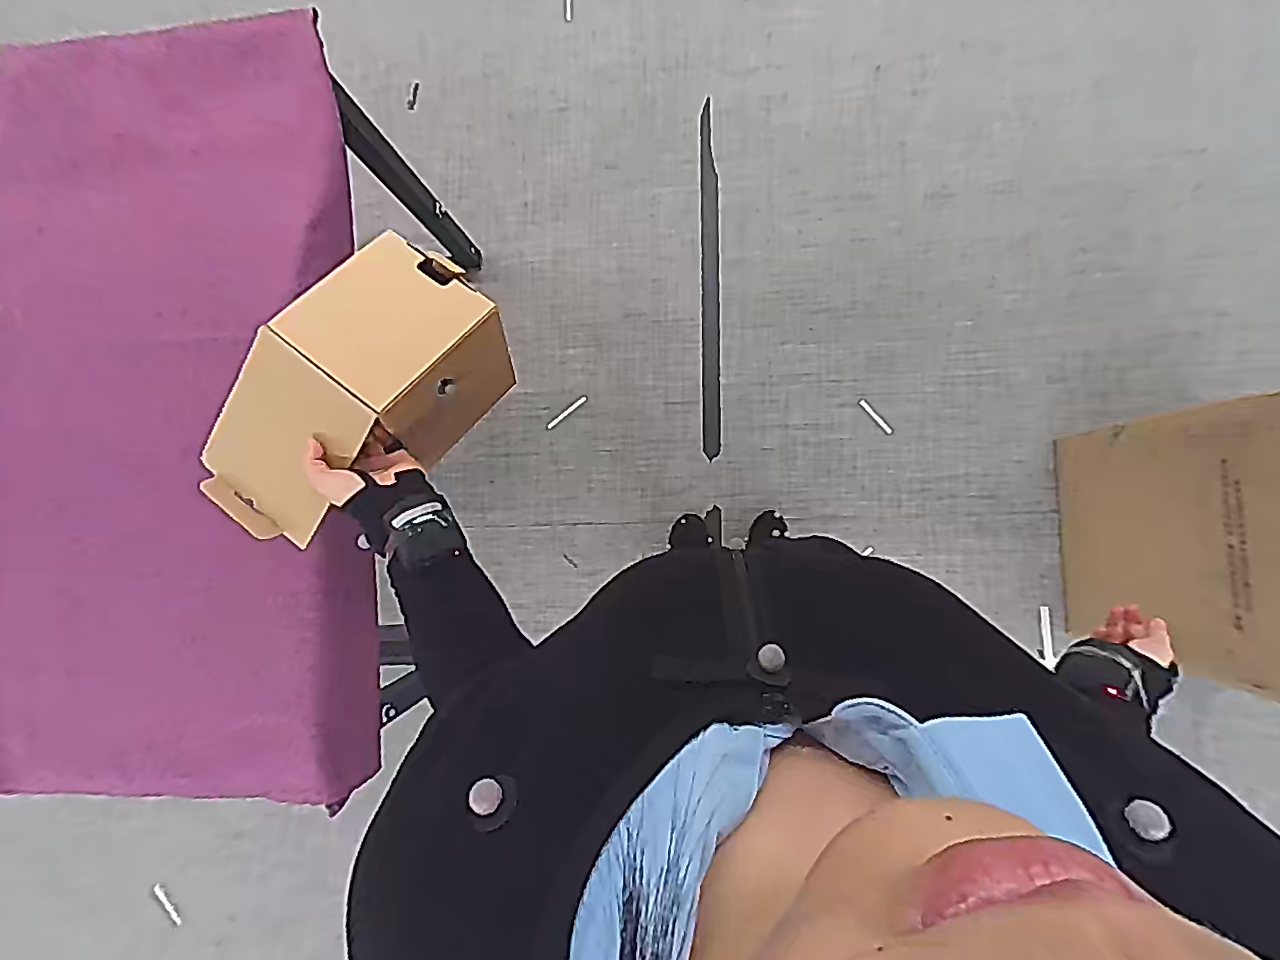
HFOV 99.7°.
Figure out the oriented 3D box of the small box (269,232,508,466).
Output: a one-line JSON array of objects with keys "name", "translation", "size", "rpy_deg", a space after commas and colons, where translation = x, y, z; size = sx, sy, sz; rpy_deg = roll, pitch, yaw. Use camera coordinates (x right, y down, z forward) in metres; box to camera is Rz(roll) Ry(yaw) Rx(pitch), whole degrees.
[{"name": "small box", "translation": [-0.279, -0.145, 0.650], "size": [0.168, 0.176, 0.179], "rpy_deg": [37, 71, 8]}]
